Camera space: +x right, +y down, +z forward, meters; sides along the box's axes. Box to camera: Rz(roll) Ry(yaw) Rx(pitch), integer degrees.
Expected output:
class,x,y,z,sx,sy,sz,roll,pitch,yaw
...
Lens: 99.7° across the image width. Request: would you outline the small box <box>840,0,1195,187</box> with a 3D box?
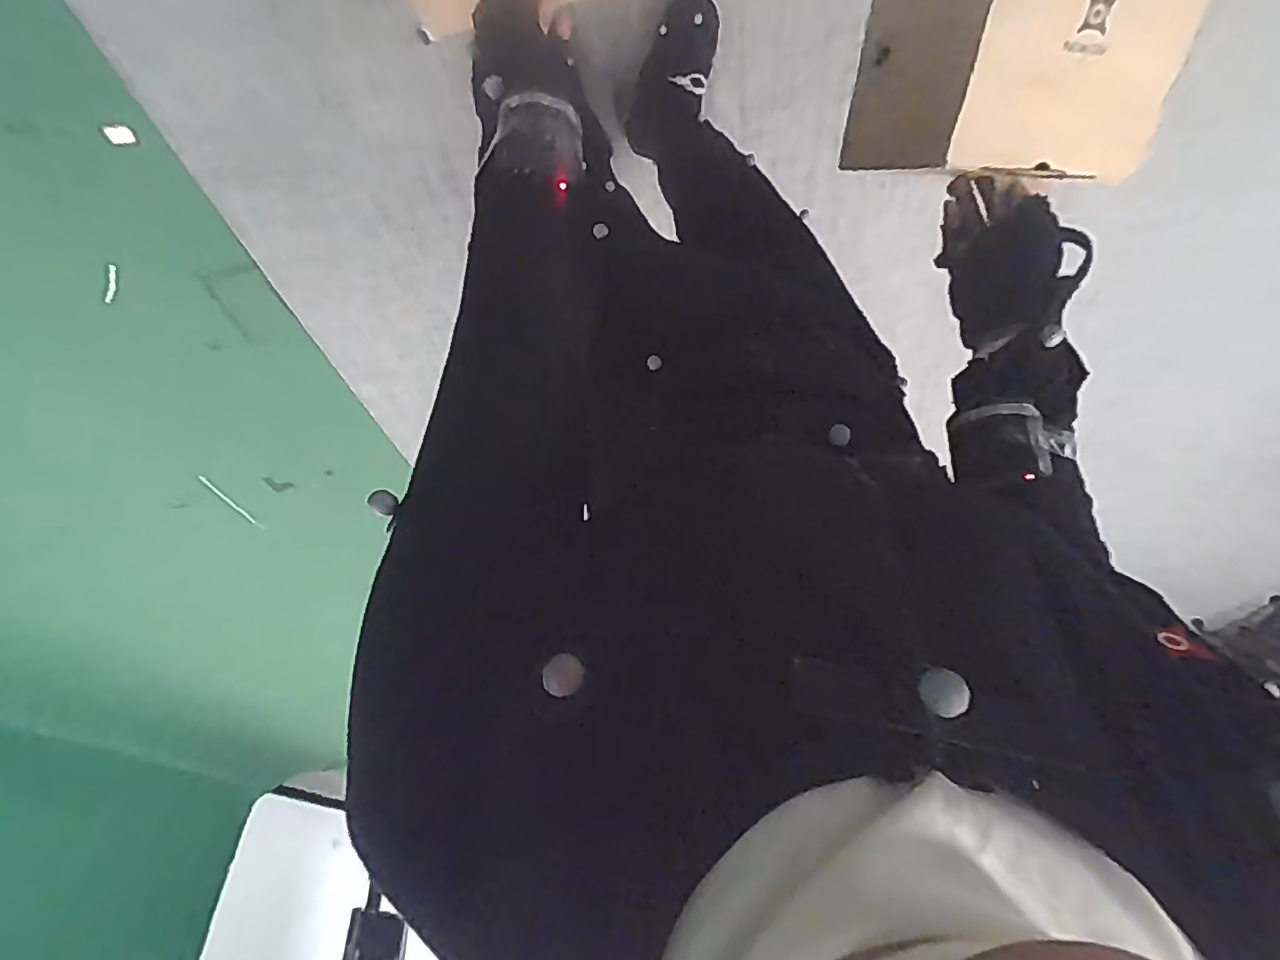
class,x,y,z,sx,sy,sz,roll,pitch,yaw
small box,0.289,-0.348,0.444,0.168,0.176,0.179,-2,120,-9
